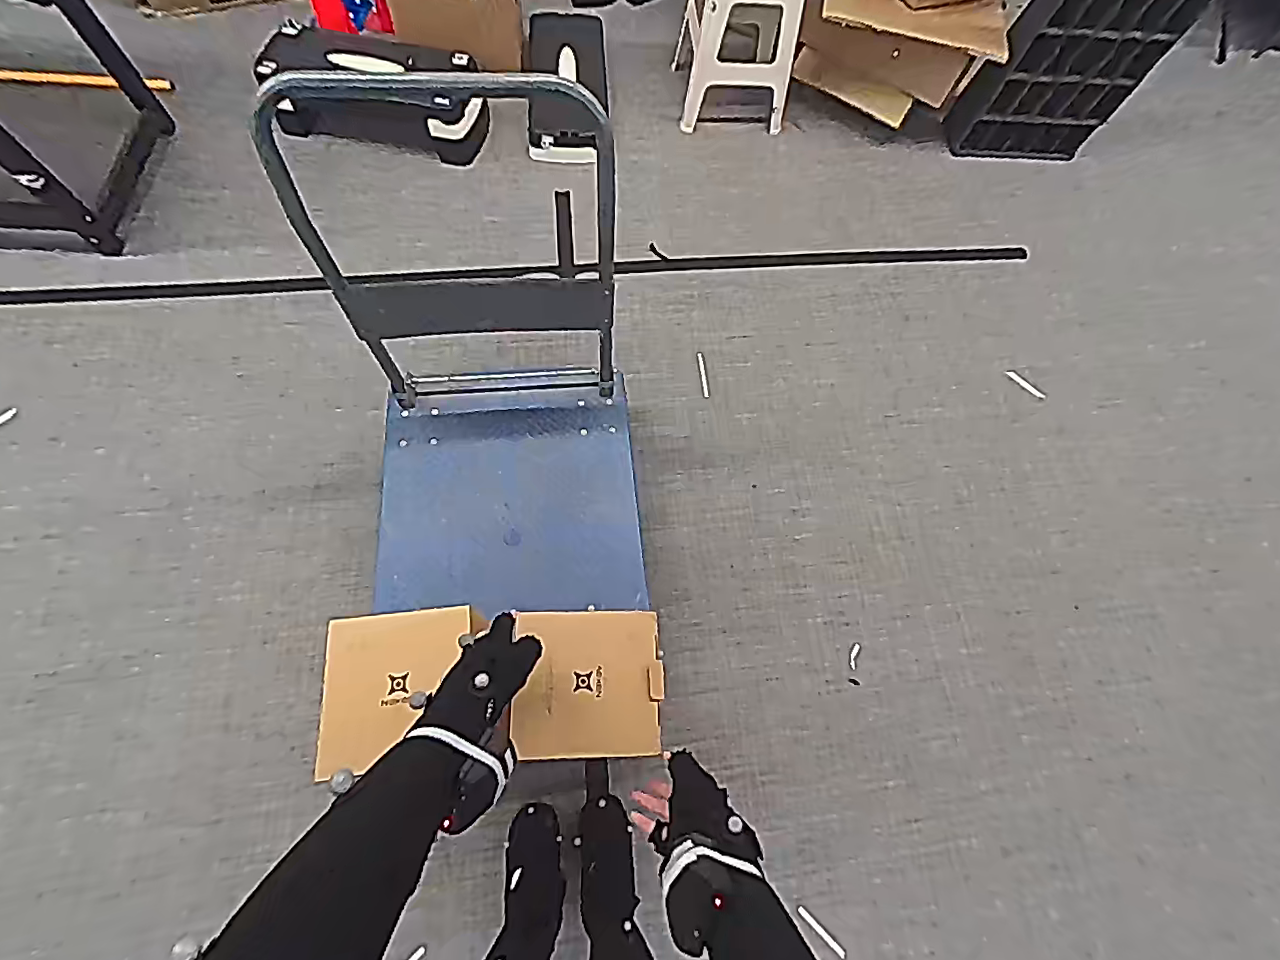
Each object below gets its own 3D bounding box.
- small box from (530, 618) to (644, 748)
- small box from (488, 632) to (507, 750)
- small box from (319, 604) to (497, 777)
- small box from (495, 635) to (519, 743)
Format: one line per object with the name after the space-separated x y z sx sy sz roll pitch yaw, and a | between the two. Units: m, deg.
-0.086 0.325 0.870 0.168 0.176 0.179 -2 69 -5 | small box
-0.306 0.332 0.848 0.168 0.176 0.179 -6 70 -8 | small box
-0.283 0.268 0.699 0.168 0.176 0.179 -4 69 -7 | small box
-0.318 0.392 1.001 0.168 0.176 0.179 -5 68 -7 | small box
